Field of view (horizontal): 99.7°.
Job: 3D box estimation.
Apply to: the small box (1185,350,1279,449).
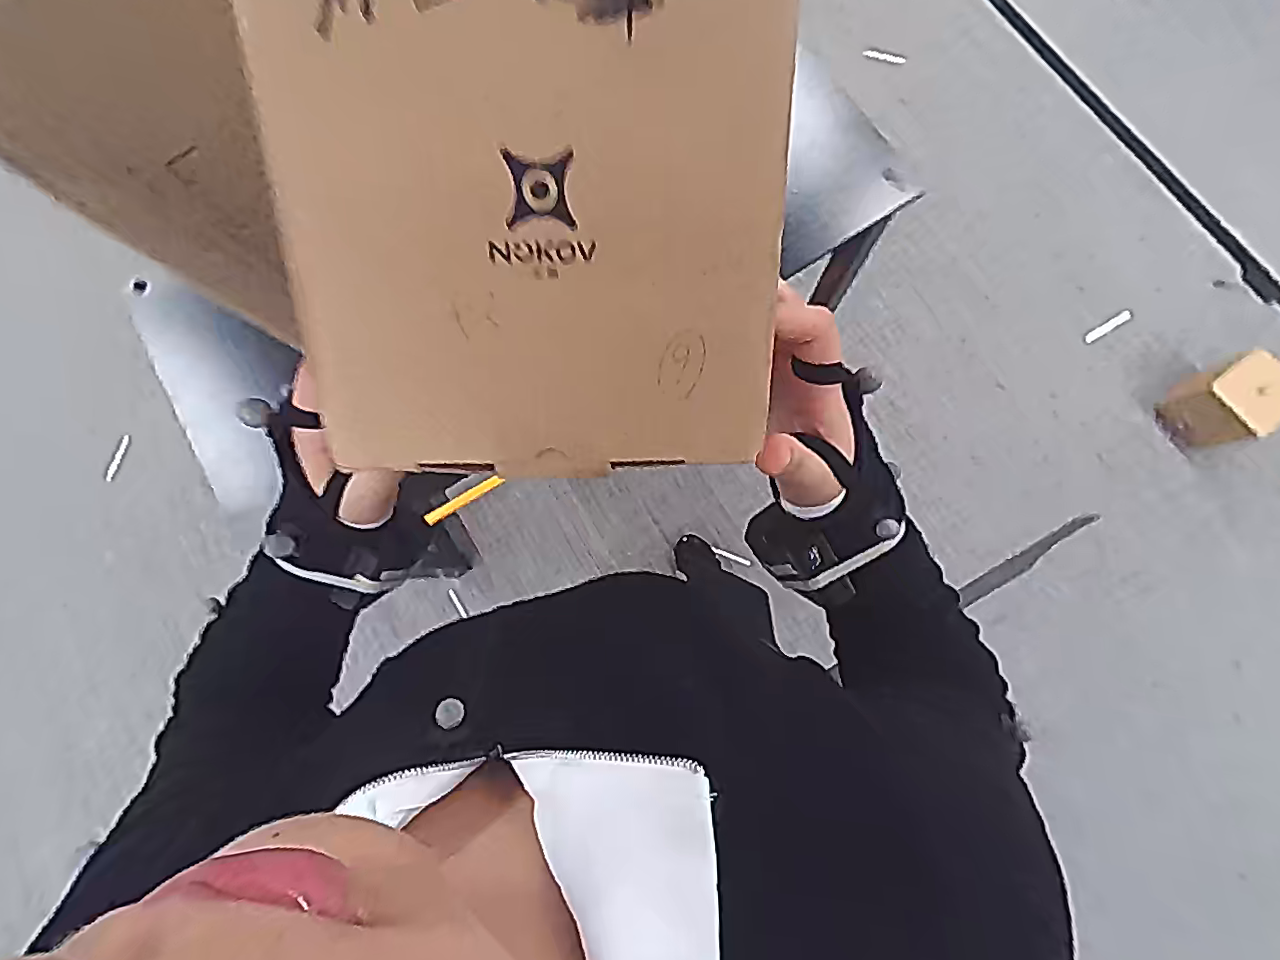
[{"bbox_3d":[1.540,-0.201,1.340,0.179,0.176,0.168,-39,80,-2],"label":"small box"}]
